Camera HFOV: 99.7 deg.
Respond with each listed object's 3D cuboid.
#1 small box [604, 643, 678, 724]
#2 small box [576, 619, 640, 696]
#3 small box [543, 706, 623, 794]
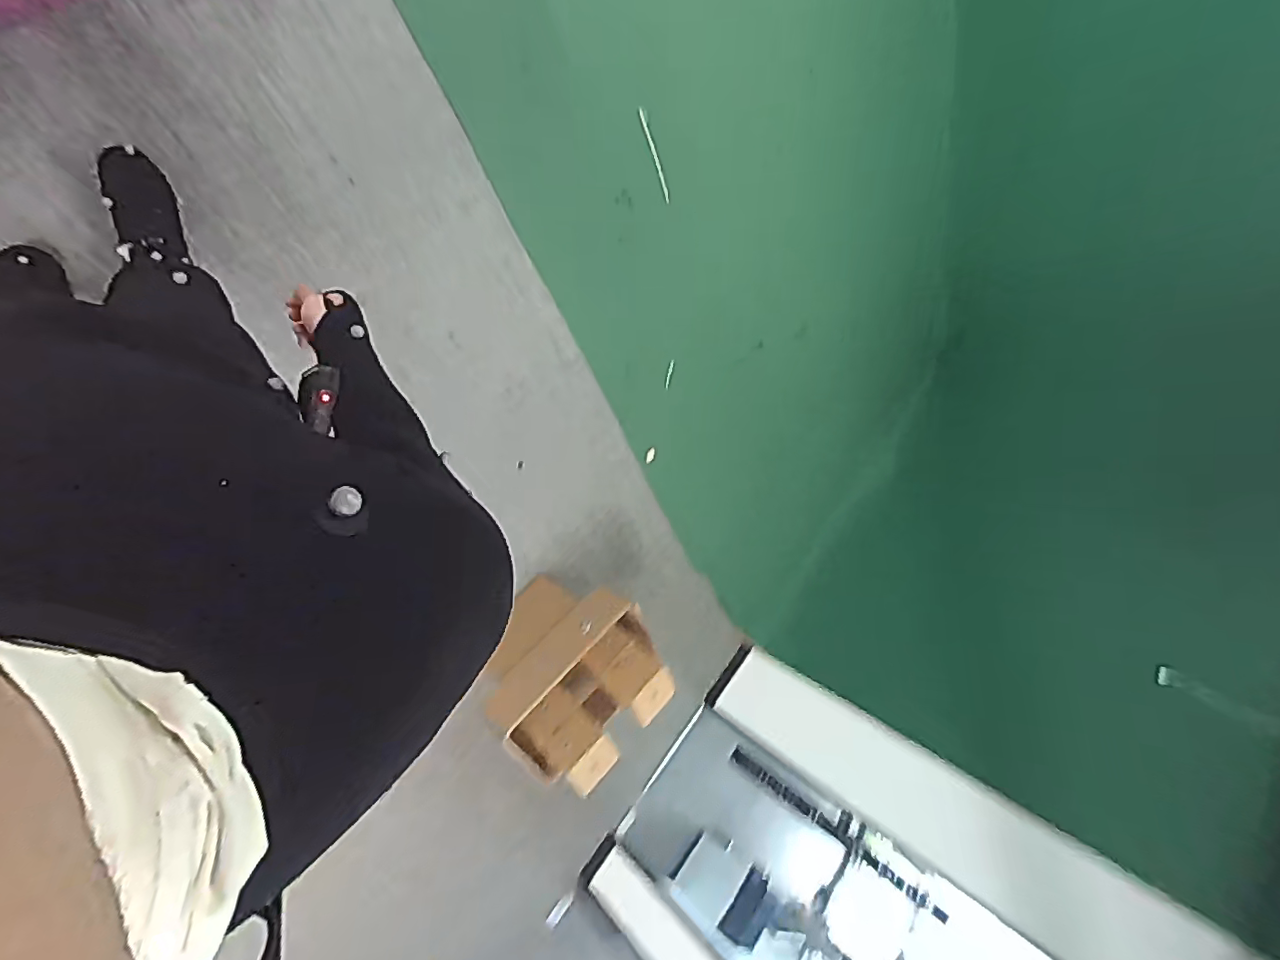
[{"bbox_3d":[0.003,0.709,1.900,0.168,0.176,0.179,-40,132,-25],"label":"small box"},{"bbox_3d":[-0.106,0.653,2.009,0.179,0.176,0.168,-39,132,-26],"label":"small box"},{"bbox_3d":[-0.190,0.879,1.777,0.168,0.176,0.179,-40,133,-24],"label":"small box"}]
